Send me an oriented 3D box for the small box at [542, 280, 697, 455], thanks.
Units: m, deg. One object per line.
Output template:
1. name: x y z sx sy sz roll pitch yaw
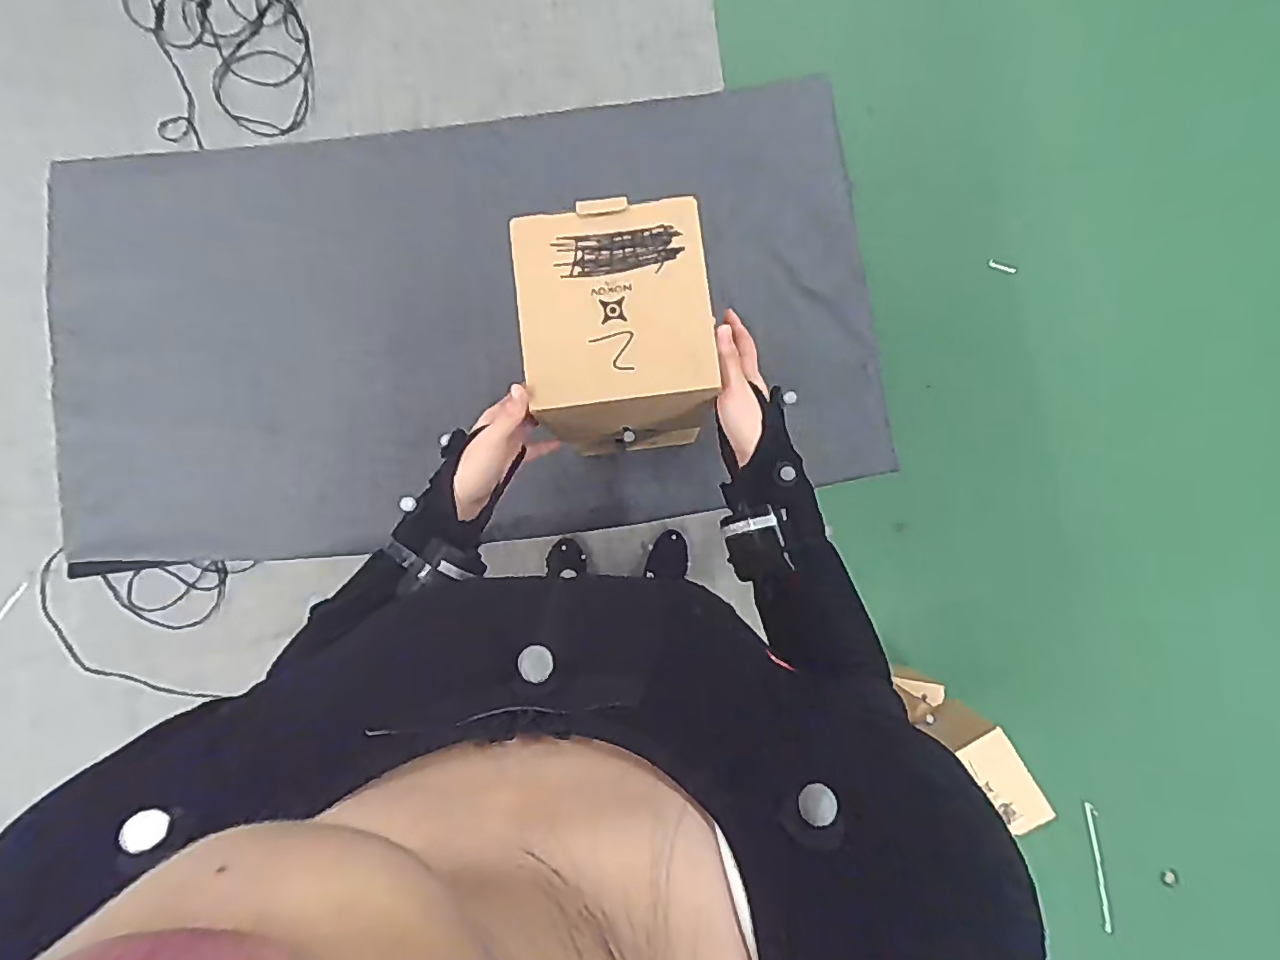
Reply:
1. small box: -0.021 -0.130 0.698 0.168 0.176 0.179 -7 84 0

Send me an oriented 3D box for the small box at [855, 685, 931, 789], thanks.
1. small box: 0.612 0.579 1.197 0.179 0.176 0.168 30 88 3

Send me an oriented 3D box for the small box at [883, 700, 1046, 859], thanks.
1. small box: 0.607 0.558 1.034 0.168 0.176 0.179 -30 85 0

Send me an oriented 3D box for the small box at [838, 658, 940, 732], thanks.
1. small box: 0.618 0.559 1.361 0.179 0.176 0.168 9 87 2
